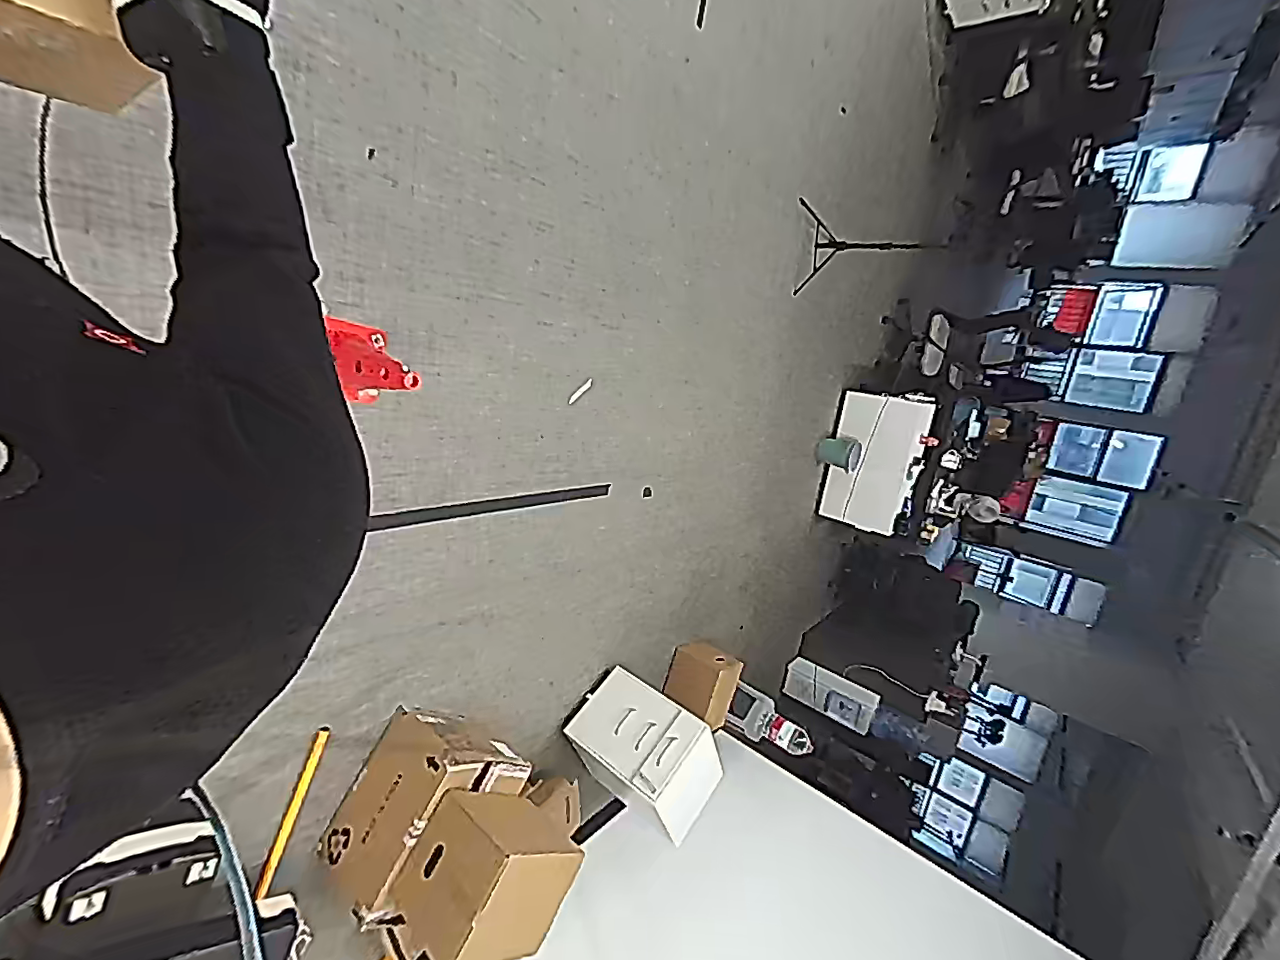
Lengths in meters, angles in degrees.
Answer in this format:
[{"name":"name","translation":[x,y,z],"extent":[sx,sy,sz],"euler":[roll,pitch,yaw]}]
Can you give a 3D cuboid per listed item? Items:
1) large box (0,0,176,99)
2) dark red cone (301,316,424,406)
[{"name":"large box","translation":[-0.554,-0.473,0.286],"extent":[0.408,0.320,0.320],"euler":[-10,115,-50]},{"name":"dark red cone","translation":[-0.616,-0.250,1.259],"extent":[0.201,0.394,0.202],"euler":[3,103,-51]}]
